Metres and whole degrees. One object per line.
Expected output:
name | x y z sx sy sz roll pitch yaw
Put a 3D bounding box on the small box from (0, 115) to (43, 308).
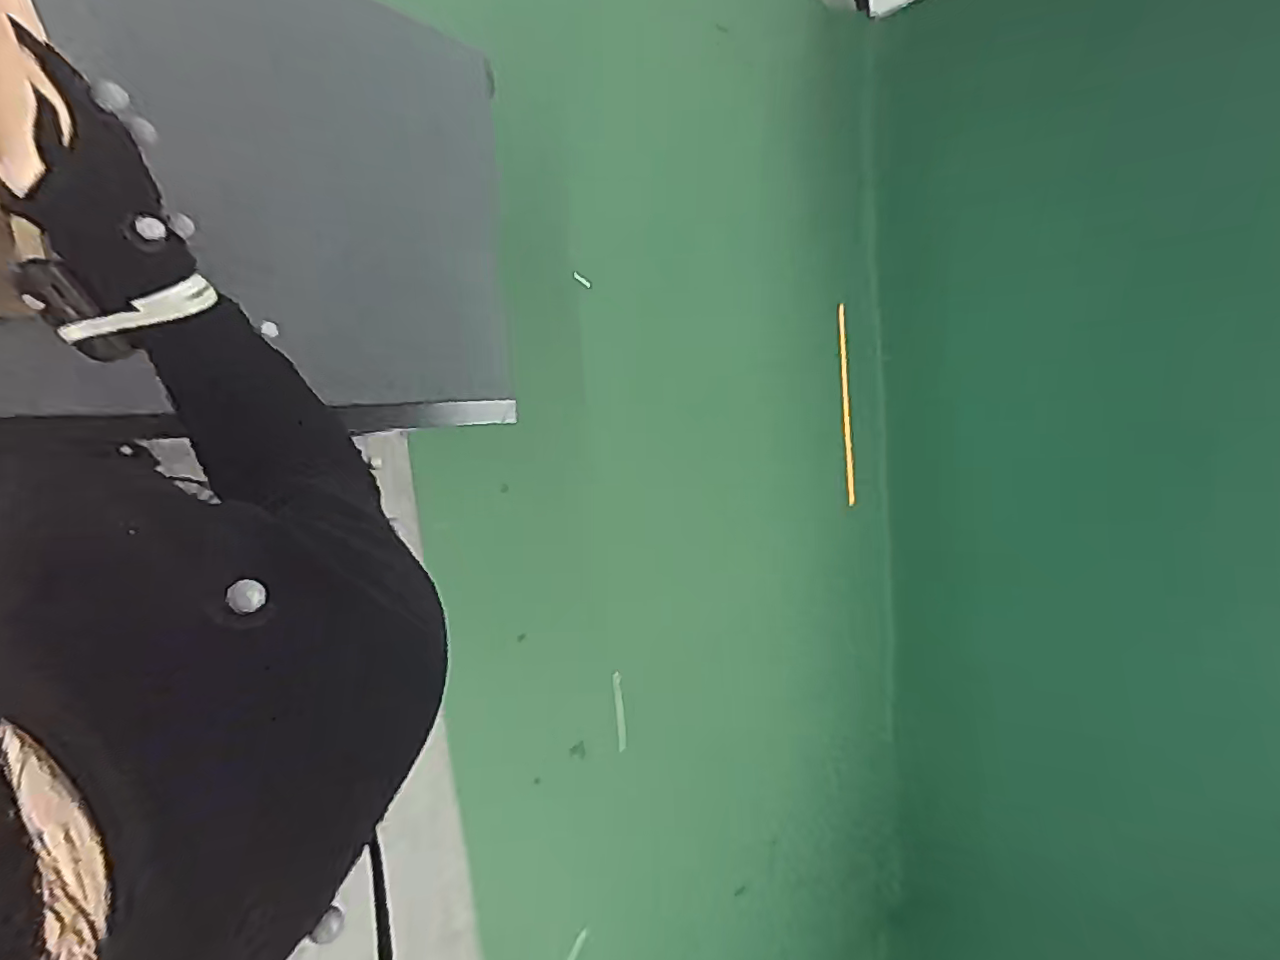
small box | -0.605 -0.245 0.417 0.168 0.176 0.179 -14 100 -43
